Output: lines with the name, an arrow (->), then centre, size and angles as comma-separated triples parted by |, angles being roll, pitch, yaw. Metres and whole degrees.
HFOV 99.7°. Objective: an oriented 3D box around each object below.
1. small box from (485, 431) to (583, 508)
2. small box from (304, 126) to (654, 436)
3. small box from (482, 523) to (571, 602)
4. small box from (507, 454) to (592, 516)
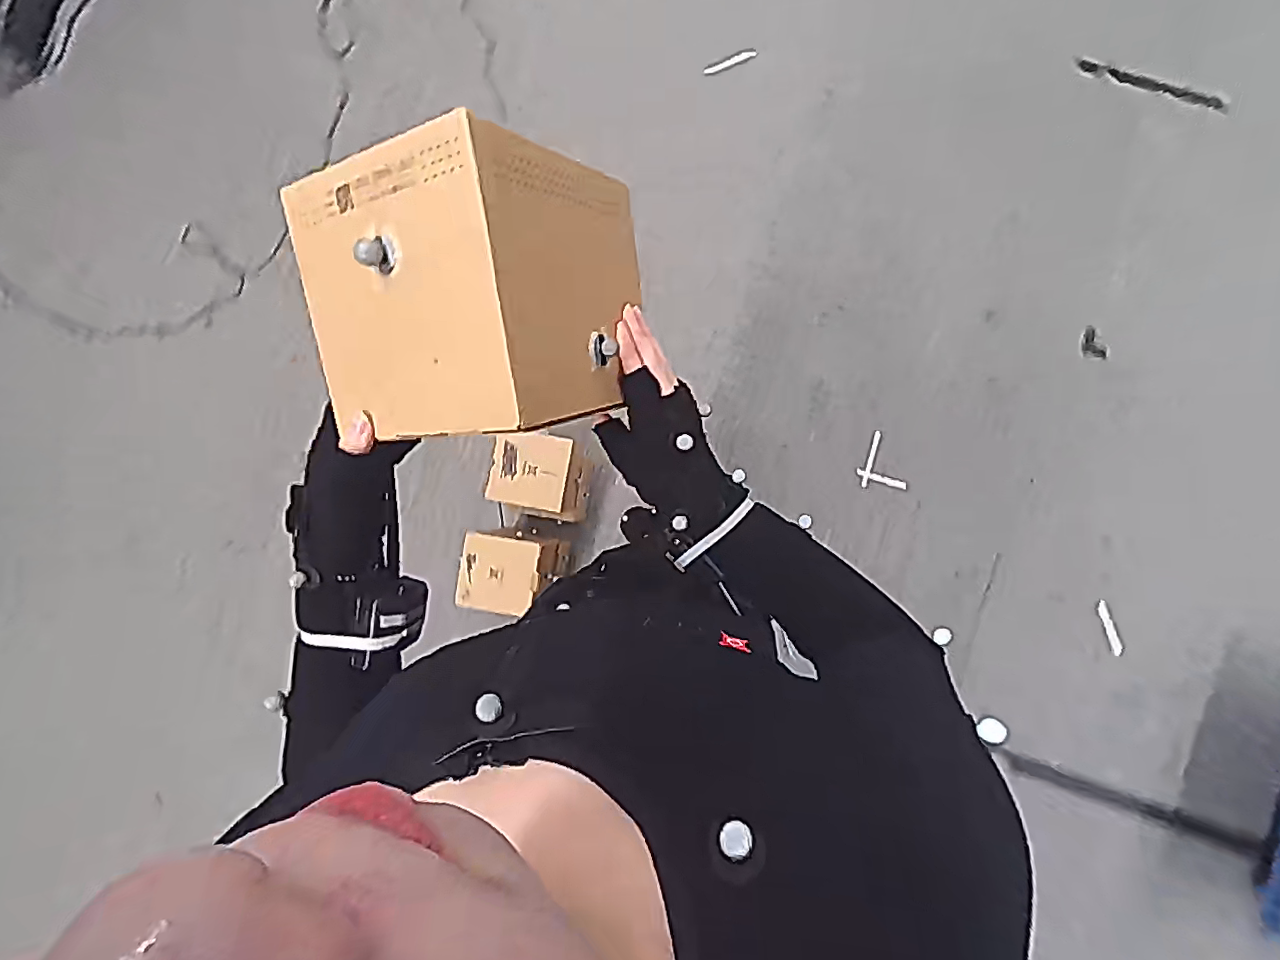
small box -> -0.244, -0.029, 1.281 | 0.179, 0.176, 0.168 | 10, 89, 2
small box -> -0.103, -0.131, 0.401 | 0.168, 0.179, 0.176 | 1, 105, 28
small box -> -0.295, 0.212, 1.443 | 0.179, 0.176, 0.168 | 13, 88, 4
small box -> -0.236, 0.002, 1.445 | 0.179, 0.176, 0.168 | 9, 89, 3
